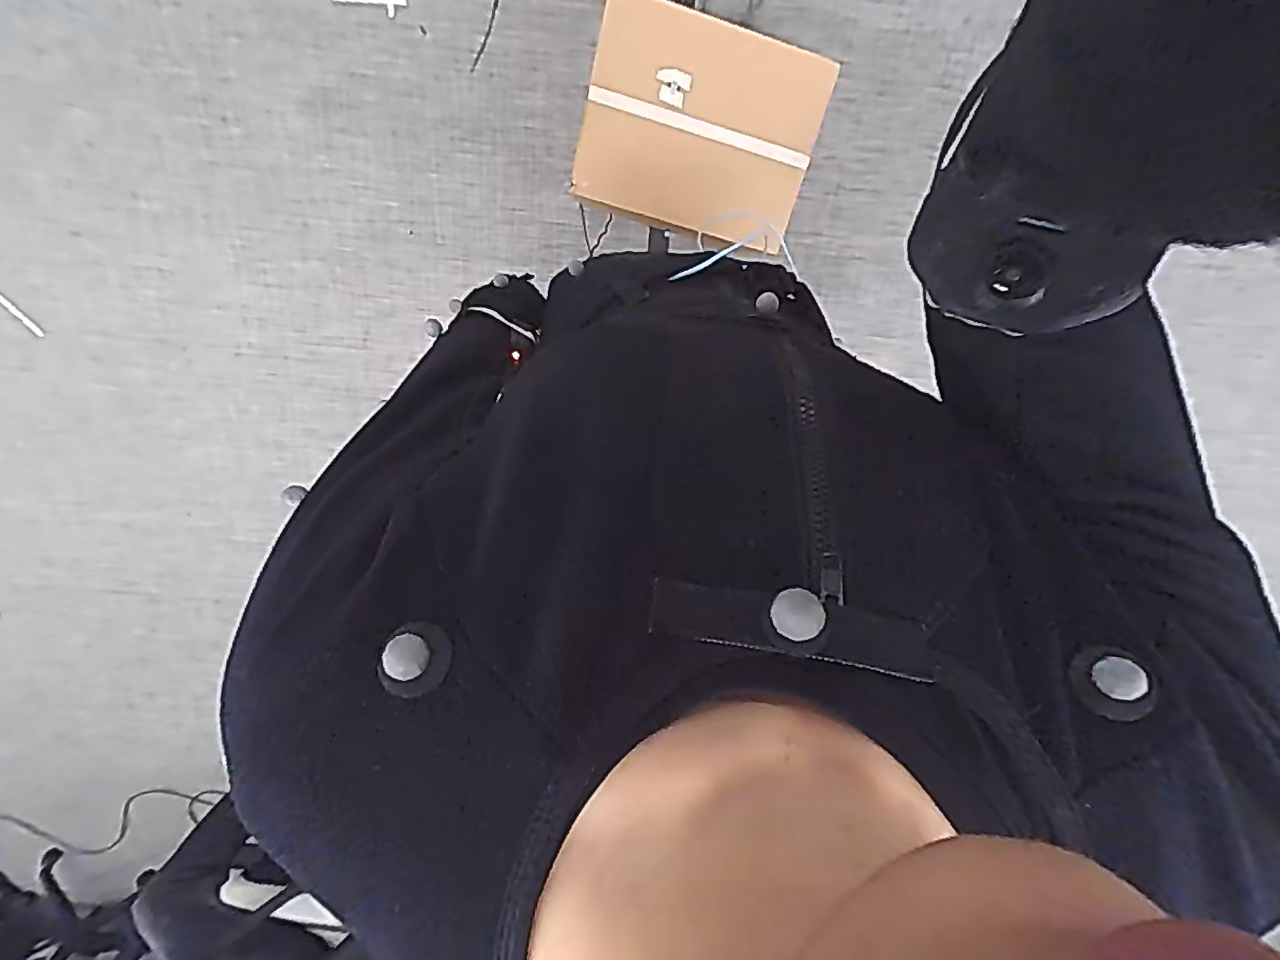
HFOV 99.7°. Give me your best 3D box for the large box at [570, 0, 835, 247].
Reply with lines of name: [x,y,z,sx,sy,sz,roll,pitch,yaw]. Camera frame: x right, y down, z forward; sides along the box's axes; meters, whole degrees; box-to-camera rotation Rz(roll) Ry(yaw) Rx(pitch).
large box: [0.101,-0.680,1.083,0.408,0.320,0.320,14,111,-7]
